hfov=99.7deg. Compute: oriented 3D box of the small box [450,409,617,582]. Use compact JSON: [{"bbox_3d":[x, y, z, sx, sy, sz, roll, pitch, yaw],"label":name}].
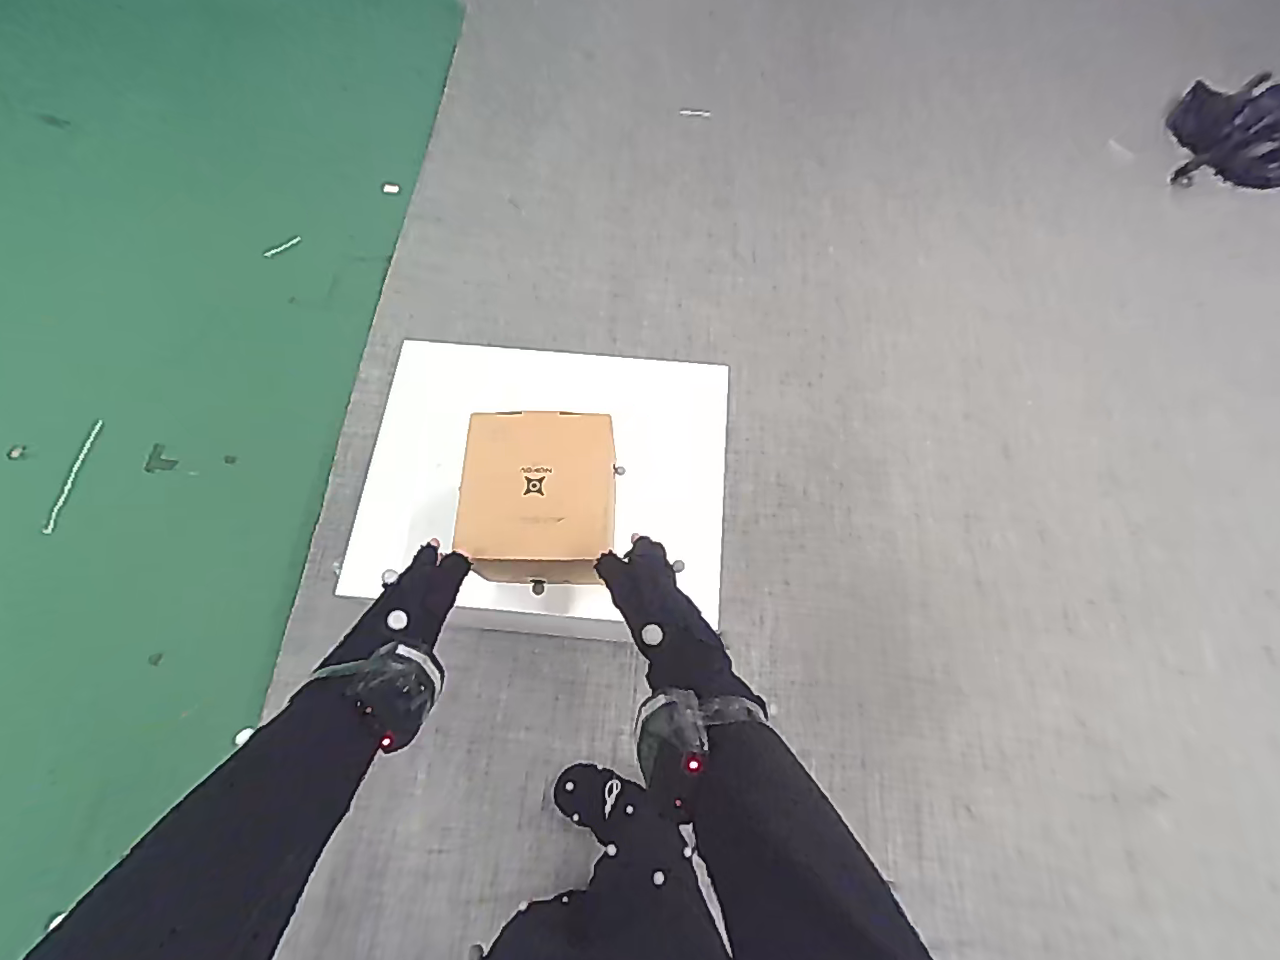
[{"bbox_3d":[-0.117,0.026,0.670,0.168,0.176,0.179,-1,72,2],"label":"small box"}]
